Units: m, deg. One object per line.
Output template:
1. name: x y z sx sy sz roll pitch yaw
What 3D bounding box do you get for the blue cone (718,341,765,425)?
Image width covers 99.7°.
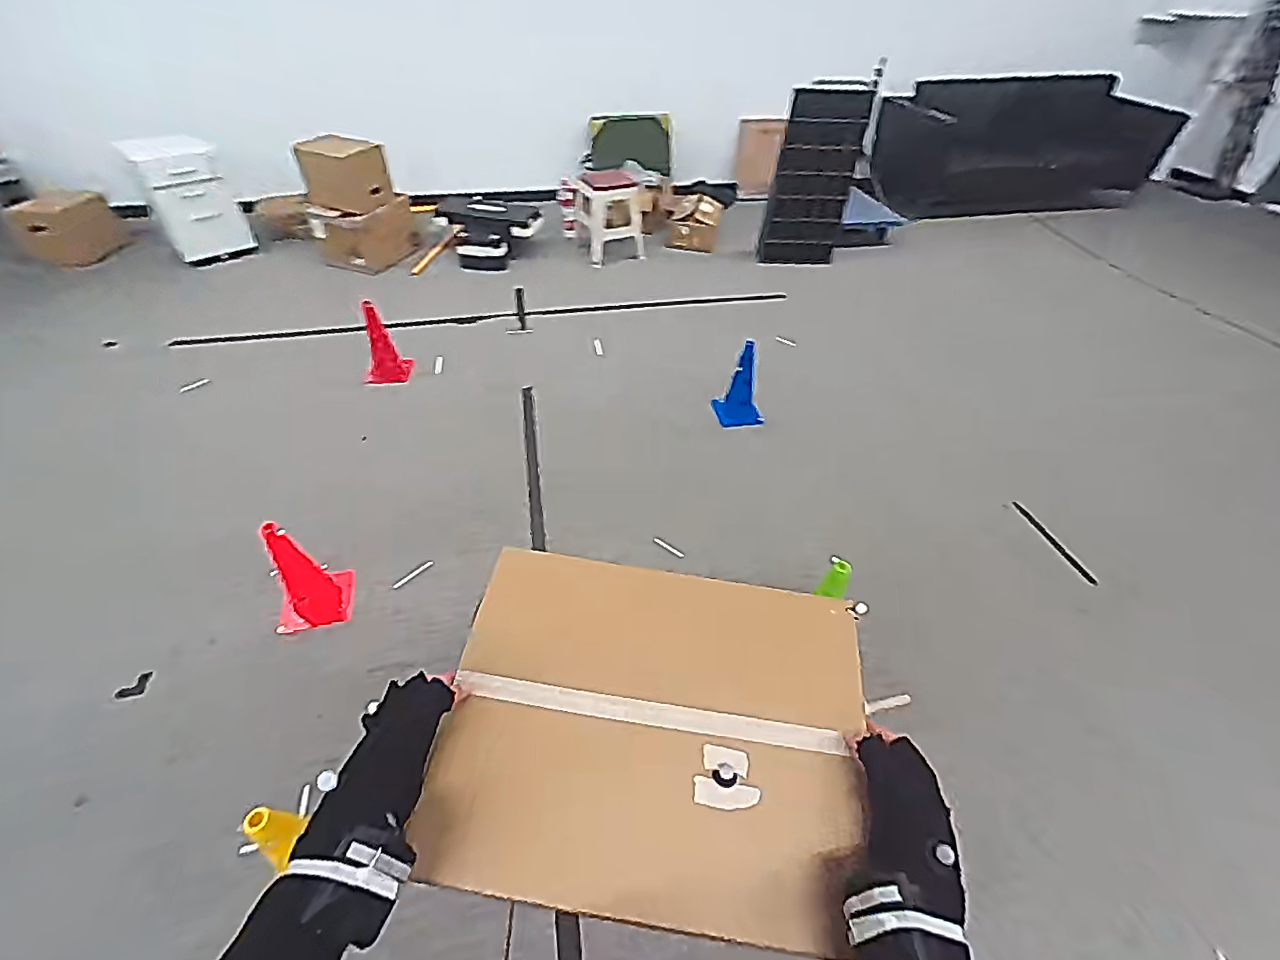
1. blue cone: 0.468 -0.430 2.355 0.192 0.380 0.193 -4 45 -8

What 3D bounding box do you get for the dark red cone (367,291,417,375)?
1. dark red cone: -1.180 -0.673 2.484 0.201 0.394 0.202 -2 45 -6

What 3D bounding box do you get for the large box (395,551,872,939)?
1. large box: -0.001 0.318 0.647 0.408 0.320 0.320 8 52 2

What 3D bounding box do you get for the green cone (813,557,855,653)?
1. green cone: 0.535 0.349 1.536 0.200 0.368 0.202 33 51 27

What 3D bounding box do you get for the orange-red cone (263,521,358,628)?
1. orange-red cone: -0.998 0.247 1.584 0.198 0.360 0.199 -9 47 -10
